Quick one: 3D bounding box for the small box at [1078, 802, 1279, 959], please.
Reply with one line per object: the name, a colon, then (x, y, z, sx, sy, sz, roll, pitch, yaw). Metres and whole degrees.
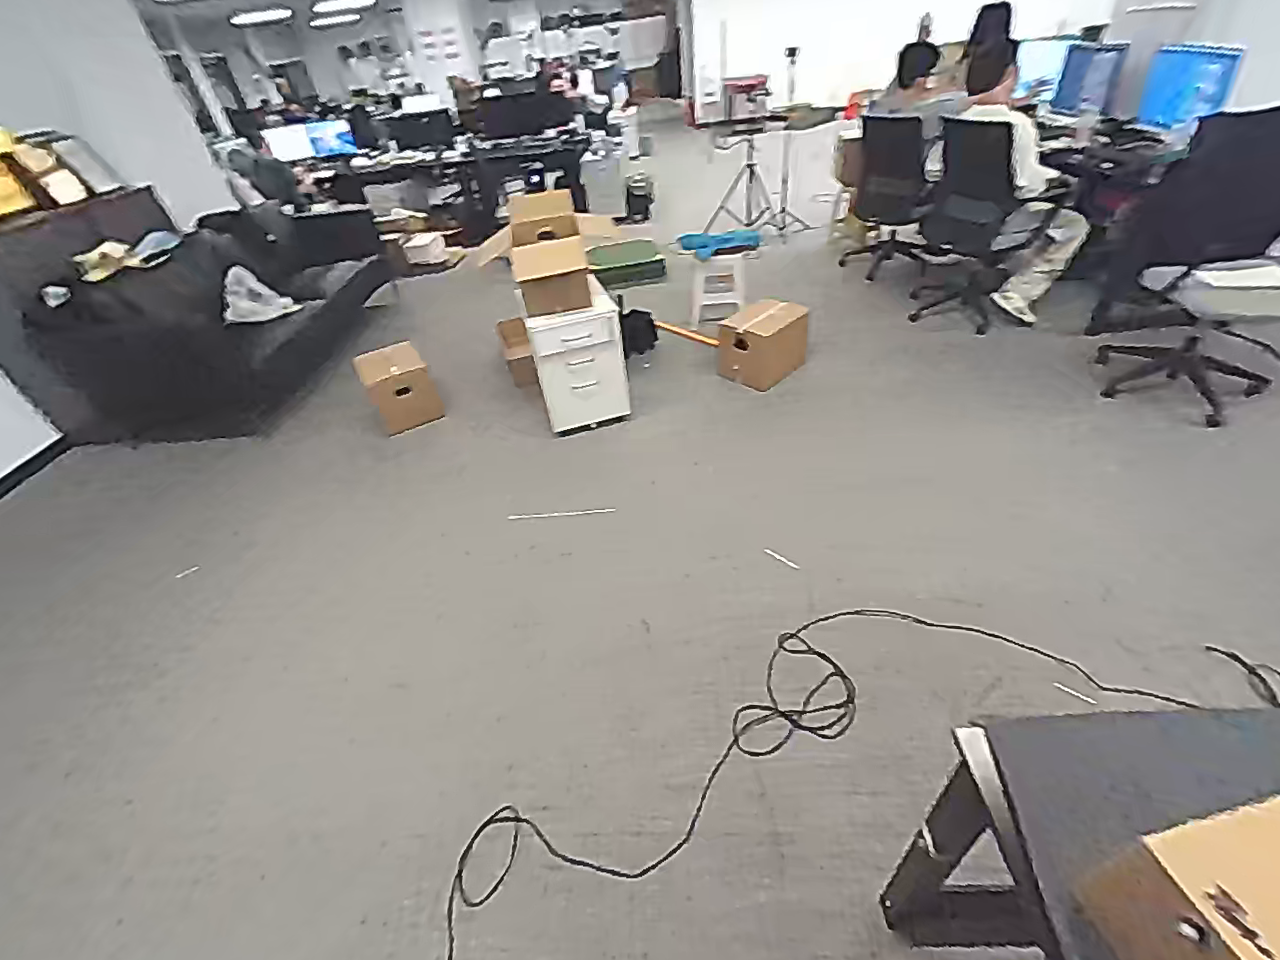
small box: (0.565, 0.426, 0.494, 0.179, 0.176, 0.168, -11, 39, -5)
